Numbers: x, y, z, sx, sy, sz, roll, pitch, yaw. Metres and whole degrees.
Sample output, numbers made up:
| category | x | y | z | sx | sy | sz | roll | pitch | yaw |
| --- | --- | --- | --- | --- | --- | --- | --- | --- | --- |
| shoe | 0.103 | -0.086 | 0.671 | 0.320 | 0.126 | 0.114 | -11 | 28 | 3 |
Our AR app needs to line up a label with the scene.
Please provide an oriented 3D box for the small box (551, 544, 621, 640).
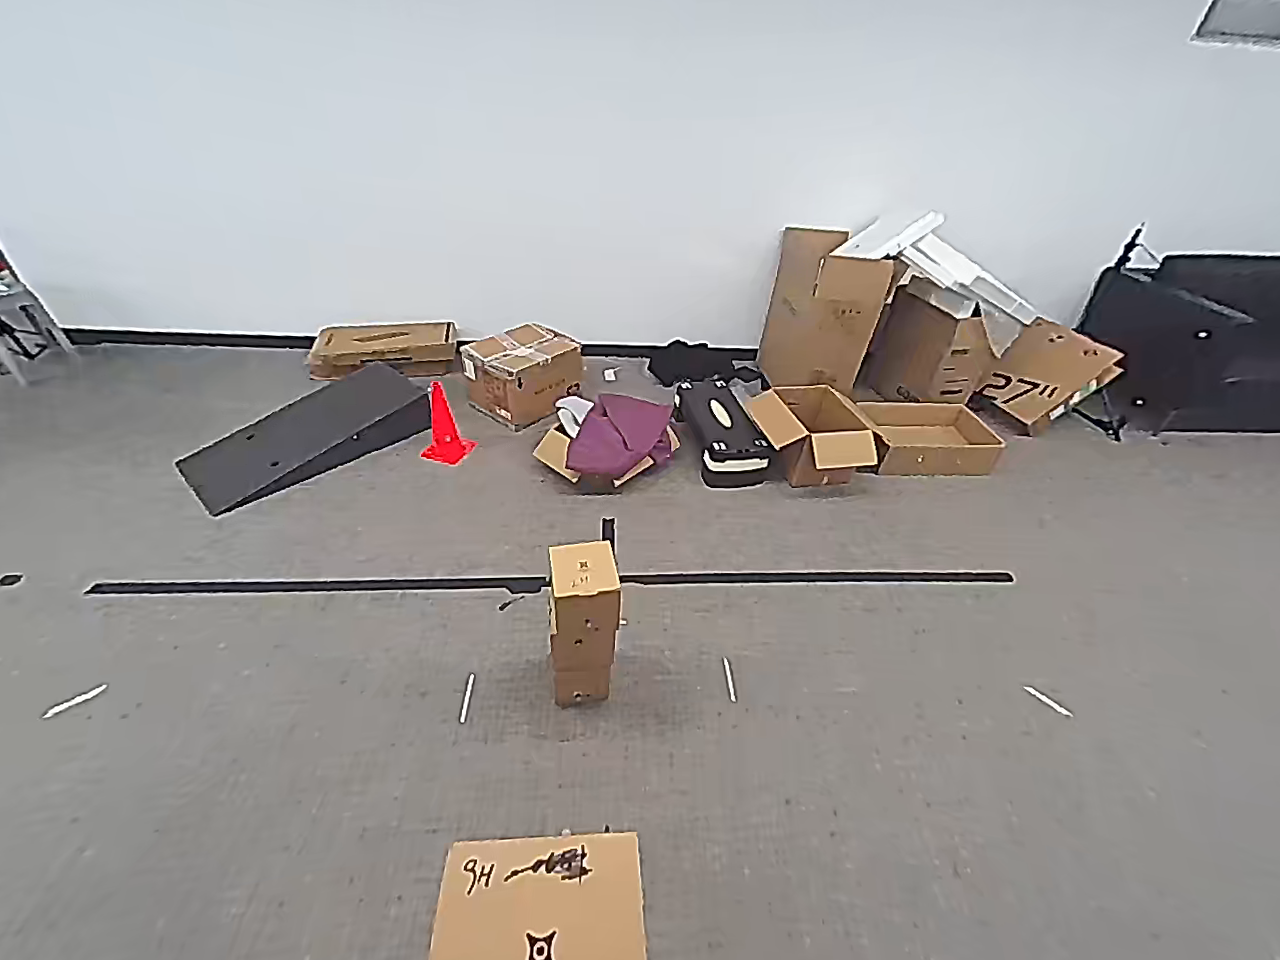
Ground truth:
| category | x | y | z | sx | sy | sz | roll | pitch | yaw |
| --- | --- | --- | --- | --- | --- | --- | --- | --- | --- |
| small box | -0.146 | 0.293 | 1.424 | 0.168 | 0.176 | 0.179 | -5 | 39 | -11 |

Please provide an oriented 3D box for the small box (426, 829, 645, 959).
| category | x | y | z | sx | sy | sz | roll | pitch | yaw |
| --- | --- | --- | --- | --- | --- | --- | --- | --- | --- |
| small box | -0.080 | 0.423 | 0.450 | 0.168 | 0.176 | 0.179 | 0 | 37 | -6 |

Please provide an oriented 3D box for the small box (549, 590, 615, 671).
| category | x | y | z | sx | sy | sz | roll | pitch | yaw |
| --- | --- | --- | --- | --- | --- | --- | --- | --- | --- |
| small box | -0.164 | 0.421 | 1.527 | 0.179 | 0.176 | 0.168 | -3 | 38 | -9 |

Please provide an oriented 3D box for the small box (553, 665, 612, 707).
| category | x | y | z | sx | sy | sz | roll | pitch | yaw |
| --- | --- | --- | --- | --- | --- | --- | --- | --- | --- |
| small box | -0.178 | 0.552 | 1.625 | 0.168 | 0.176 | 0.179 | -5 | 40 | -10 |
